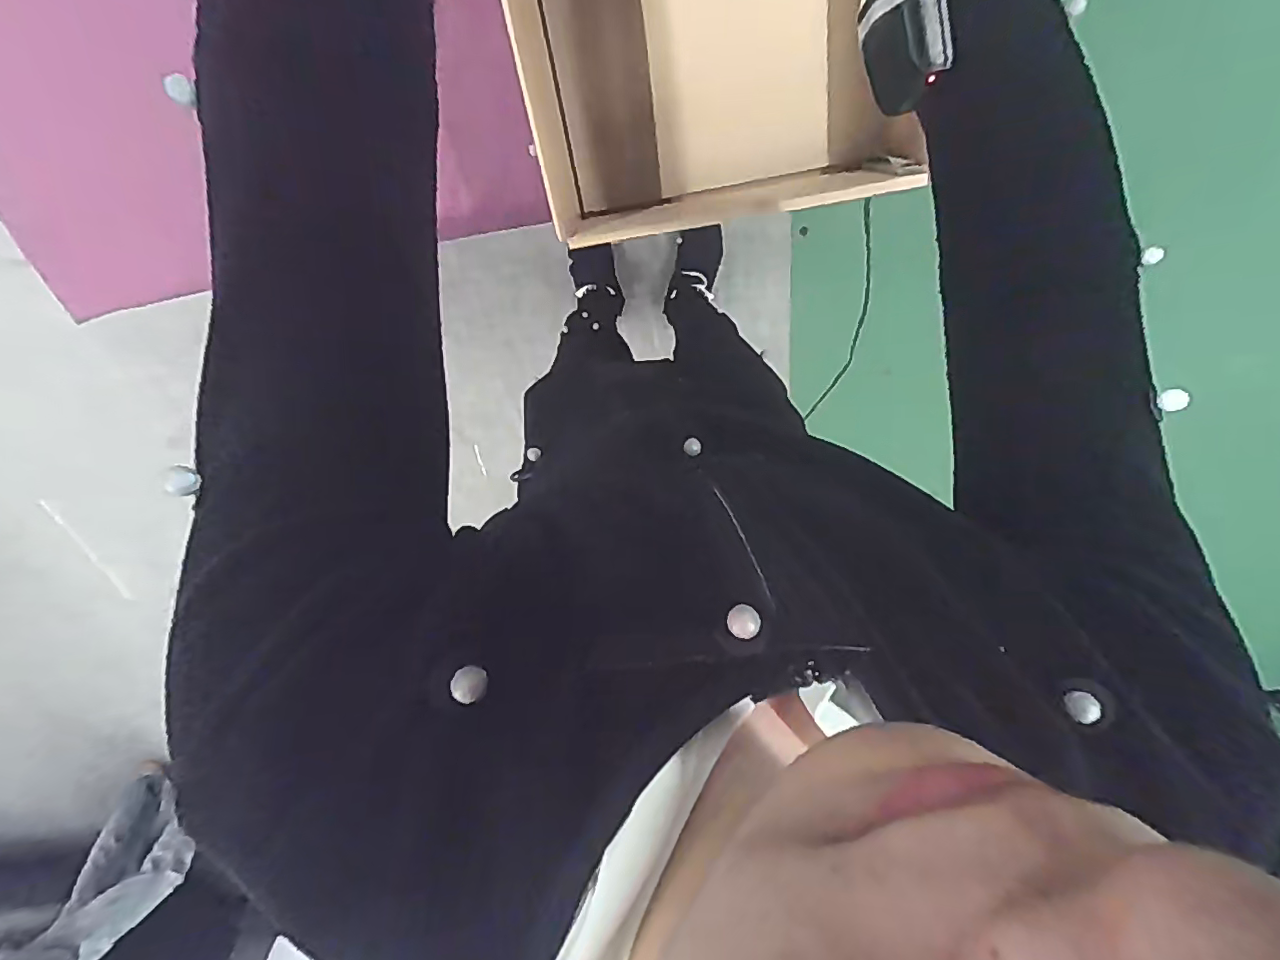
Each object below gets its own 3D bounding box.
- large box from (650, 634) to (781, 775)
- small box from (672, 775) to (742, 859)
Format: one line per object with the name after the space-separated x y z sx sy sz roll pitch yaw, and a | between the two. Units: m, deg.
0.285 0.900 2.175 0.408 0.320 0.320 -38 116 19 | large box
0.224 1.145 1.843 0.179 0.176 0.168 -33 116 18 | small box
